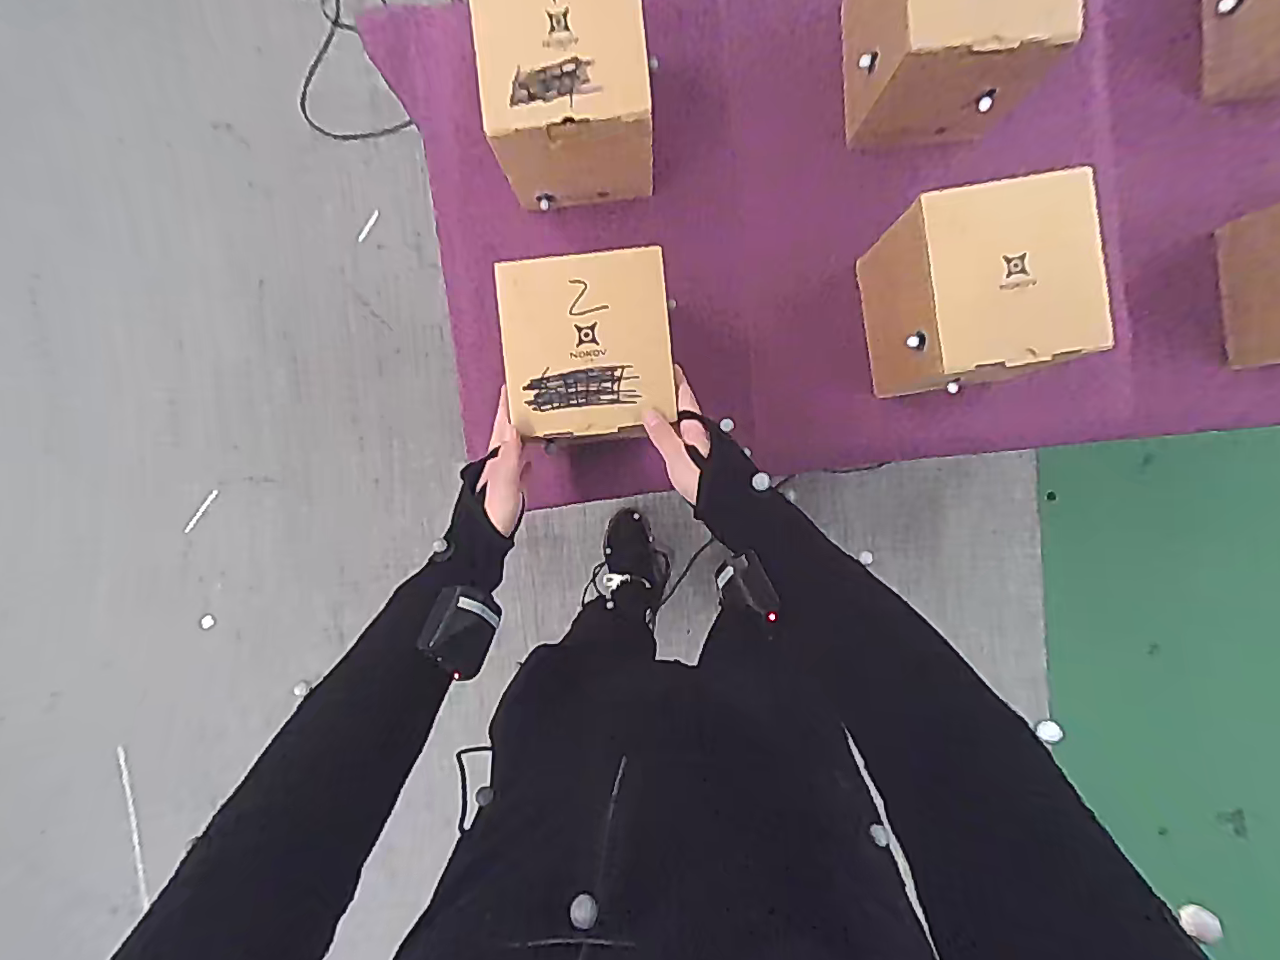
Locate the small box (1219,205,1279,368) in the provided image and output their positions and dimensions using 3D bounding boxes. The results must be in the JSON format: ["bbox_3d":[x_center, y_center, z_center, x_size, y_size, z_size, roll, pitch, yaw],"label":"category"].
[{"bbox_3d":[0.792,-0.229,0.584,0.168,0.176,0.179,-6,92,3],"label":"small box"}]

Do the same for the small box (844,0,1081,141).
[{"bbox_3d":[0.333,-0.498,0.589,0.168,0.176,0.179,-3,93,1],"label":"small box"}]

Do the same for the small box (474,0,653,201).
[{"bbox_3d":[-0.073,-0.433,0.600,0.168,0.176,0.179,-6,92,1],"label":"small box"}]

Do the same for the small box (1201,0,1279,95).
[{"bbox_3d":[0.757,-0.543,0.572,0.168,0.176,0.179,-4,95,2],"label":"small box"}]

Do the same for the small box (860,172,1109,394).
[{"bbox_3d":[0.361,-0.203,0.601,0.168,0.176,0.179,-8,92,1],"label":"small box"}]
